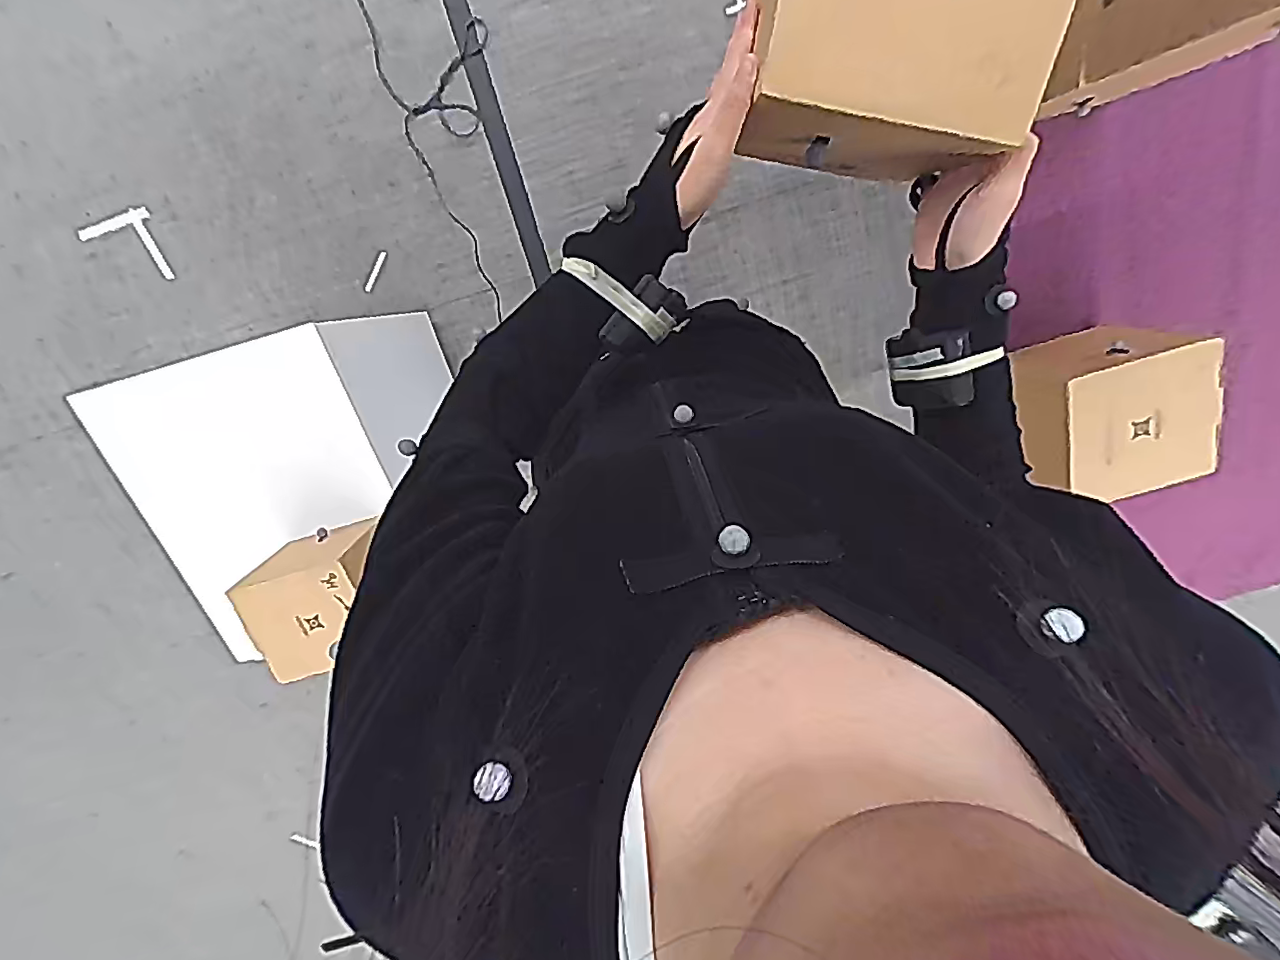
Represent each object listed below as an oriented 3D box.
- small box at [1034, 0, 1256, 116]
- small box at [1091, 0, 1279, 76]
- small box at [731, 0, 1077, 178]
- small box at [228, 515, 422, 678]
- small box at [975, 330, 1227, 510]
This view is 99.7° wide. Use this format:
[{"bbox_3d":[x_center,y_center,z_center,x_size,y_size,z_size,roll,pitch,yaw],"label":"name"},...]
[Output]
[{"bbox_3d":[0.461,-0.484,0.541,0.168,0.176,0.179,-13,109,0],"label":"small box"},{"bbox_3d":[0.481,-0.429,0.387,0.179,0.176,0.168,-13,110,2],"label":"small box"},{"bbox_3d":[0.164,-0.321,0.362,0.168,0.176,0.179,9,110,-3],"label":"small box"},{"bbox_3d":[-0.479,0.175,0.853,0.179,0.176,0.168,-16,109,3],"label":"small box"},{"bbox_3d":[0.569,-0.086,0.688,0.179,0.176,0.168,-17,108,3],"label":"small box"}]
